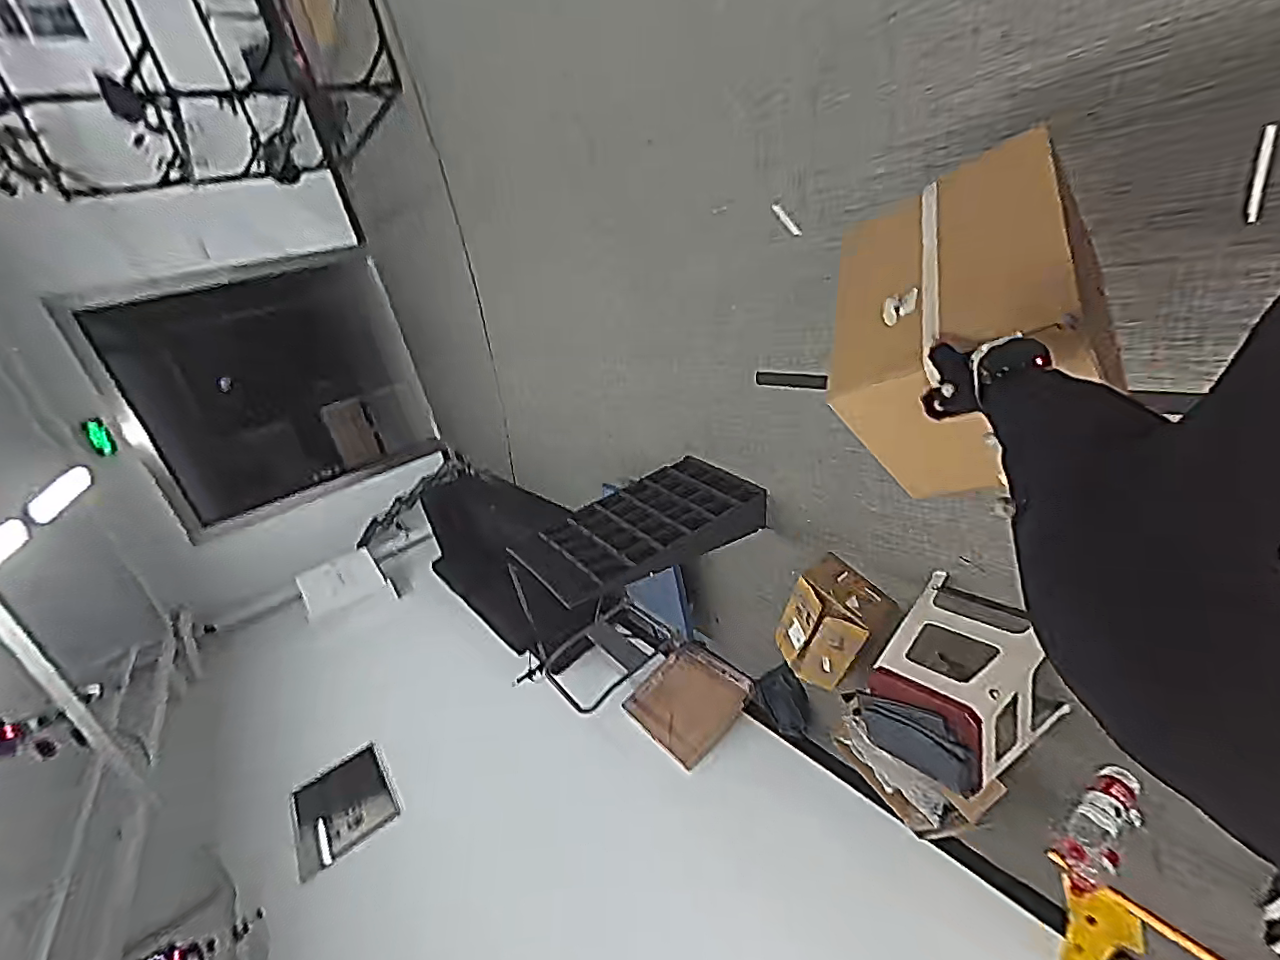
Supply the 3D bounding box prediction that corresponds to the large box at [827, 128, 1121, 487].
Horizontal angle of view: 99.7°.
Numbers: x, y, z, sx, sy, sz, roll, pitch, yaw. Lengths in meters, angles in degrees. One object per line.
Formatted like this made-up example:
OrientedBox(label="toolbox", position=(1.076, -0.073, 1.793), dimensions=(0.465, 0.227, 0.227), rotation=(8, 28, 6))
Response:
OrientedBox(label="large box", position=(0.534, -0.252, 0.887), dimensions=(0.320, 0.408, 0.320), rotation=(35, 147, -33))
